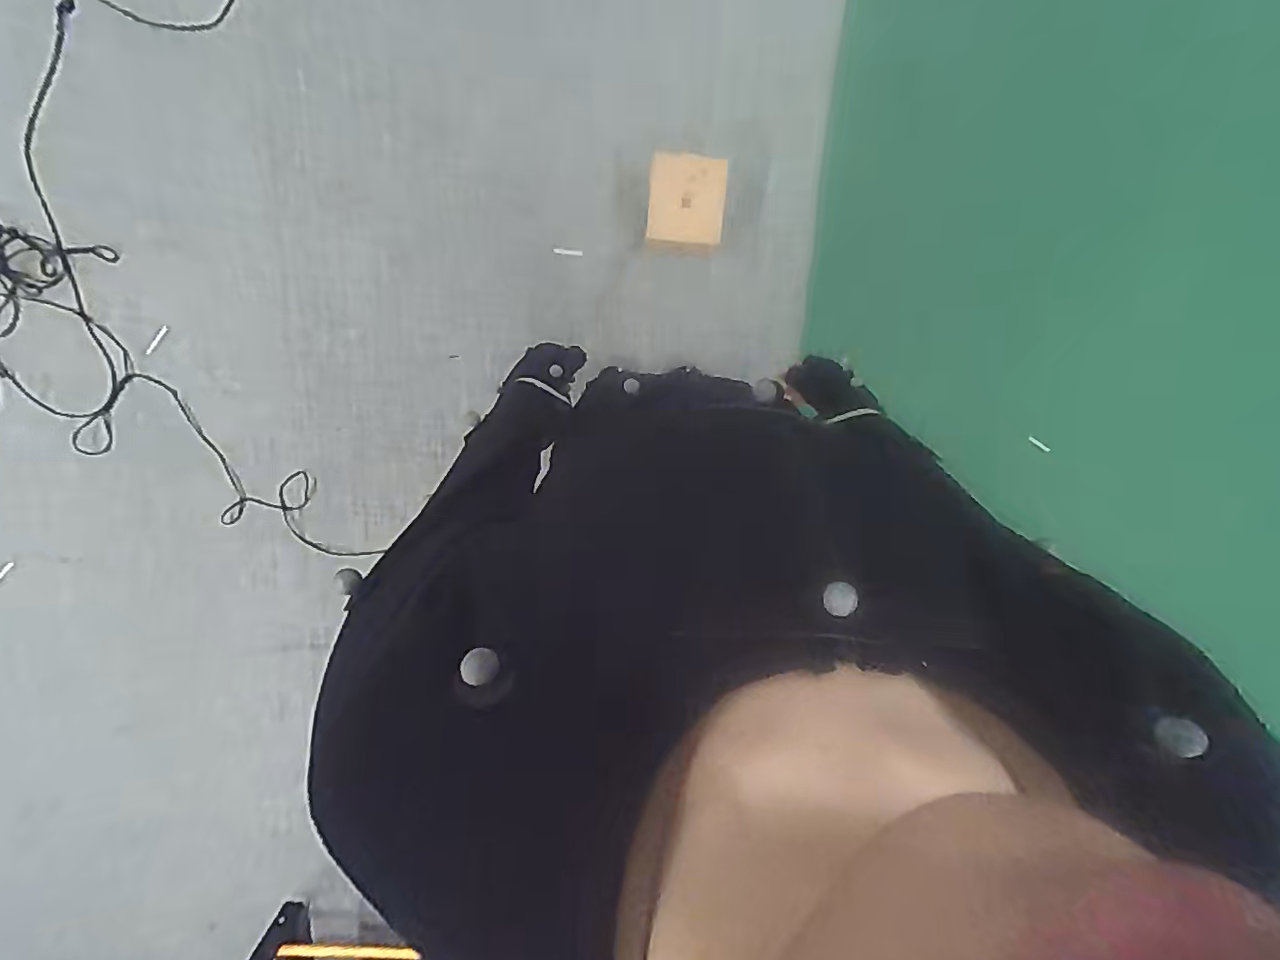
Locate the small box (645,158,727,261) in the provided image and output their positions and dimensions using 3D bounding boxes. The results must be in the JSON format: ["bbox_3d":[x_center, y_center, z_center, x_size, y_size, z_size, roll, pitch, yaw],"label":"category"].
[{"bbox_3d":[0.100,-0.618,1.257,0.168,0.176,0.179,4,103,-2],"label":"small box"}]
